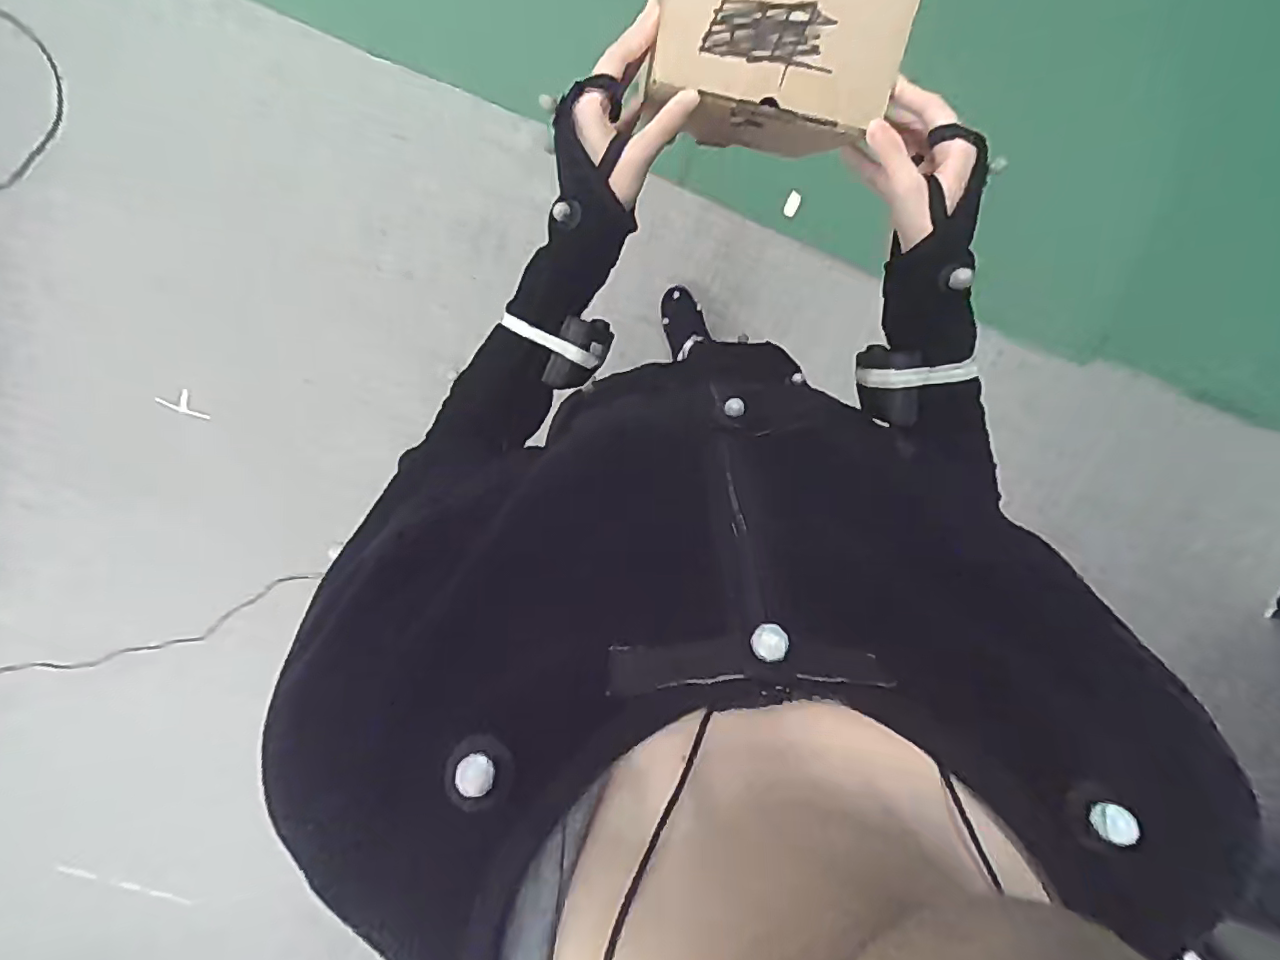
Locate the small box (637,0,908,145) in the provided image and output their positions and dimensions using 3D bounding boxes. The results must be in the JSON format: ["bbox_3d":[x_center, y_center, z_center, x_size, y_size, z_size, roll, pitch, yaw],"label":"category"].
[{"bbox_3d":[0.091,-0.370,0.405,0.168,0.176,0.179,6,115,-8],"label":"small box"}]
